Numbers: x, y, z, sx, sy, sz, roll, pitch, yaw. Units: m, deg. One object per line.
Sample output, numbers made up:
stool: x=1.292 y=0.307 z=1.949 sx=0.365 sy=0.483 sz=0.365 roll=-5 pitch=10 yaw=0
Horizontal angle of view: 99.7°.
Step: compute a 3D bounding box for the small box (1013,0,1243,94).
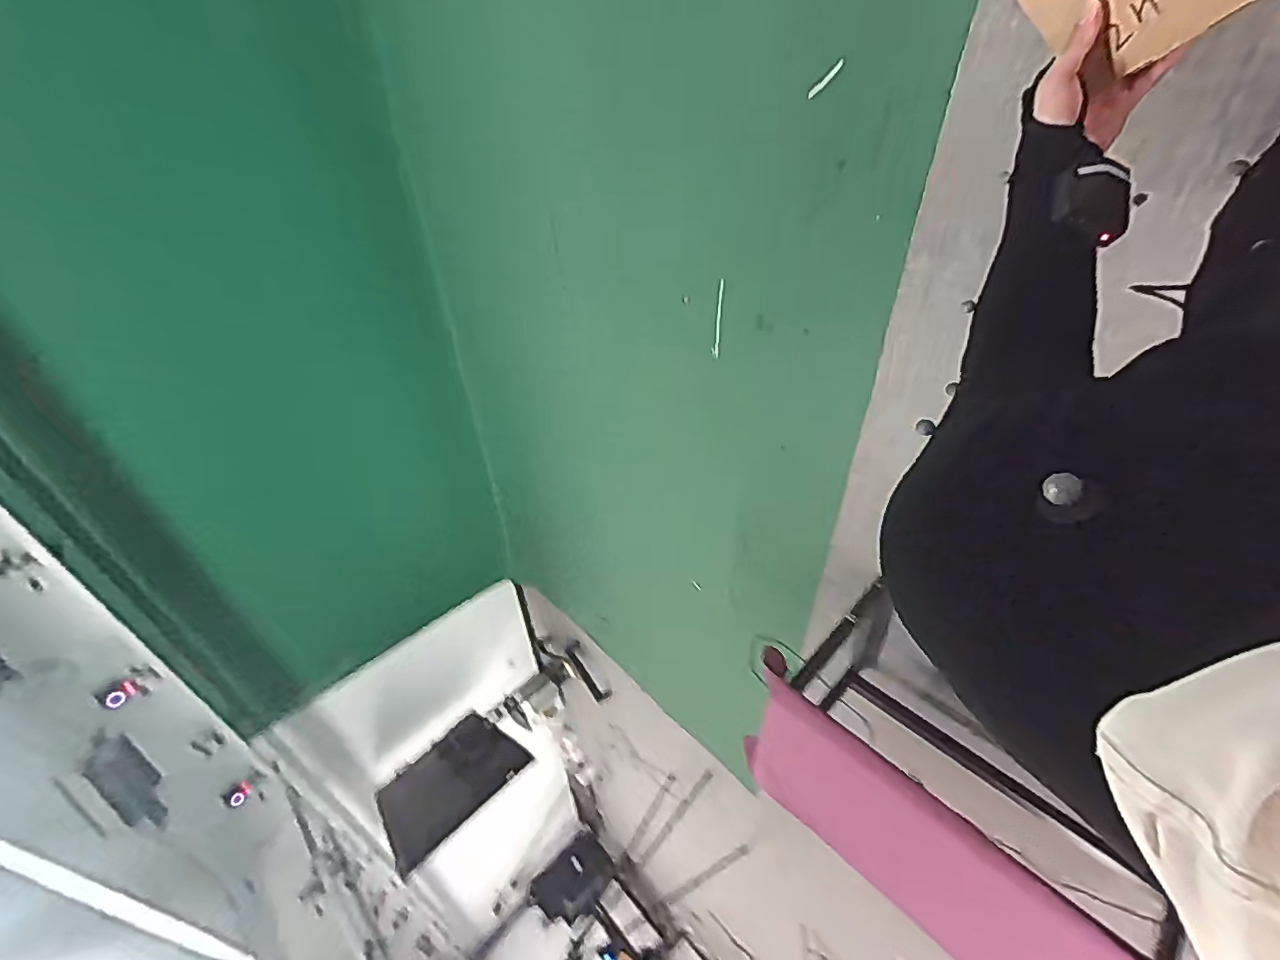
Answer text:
small box: x=0.430 y=-0.472 z=0.422 sx=0.179 sy=0.176 sz=0.168 roll=44 pitch=-177 yaw=-10
